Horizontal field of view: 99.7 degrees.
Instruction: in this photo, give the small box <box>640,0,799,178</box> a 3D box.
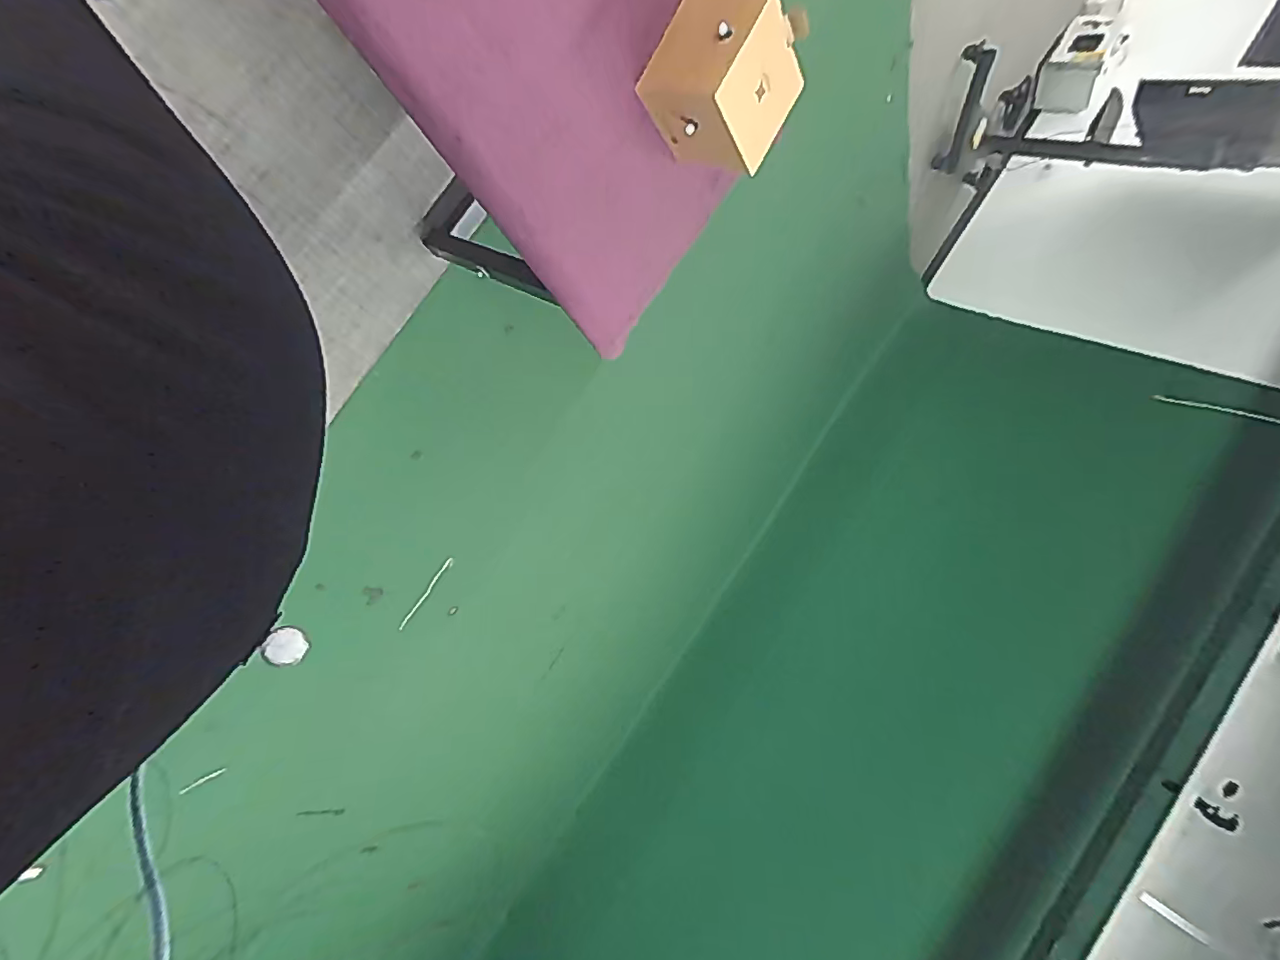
[{"bbox_3d":[0.123,-0.630,0.875,0.168,0.176,0.179,26,94,-56],"label":"small box"}]
